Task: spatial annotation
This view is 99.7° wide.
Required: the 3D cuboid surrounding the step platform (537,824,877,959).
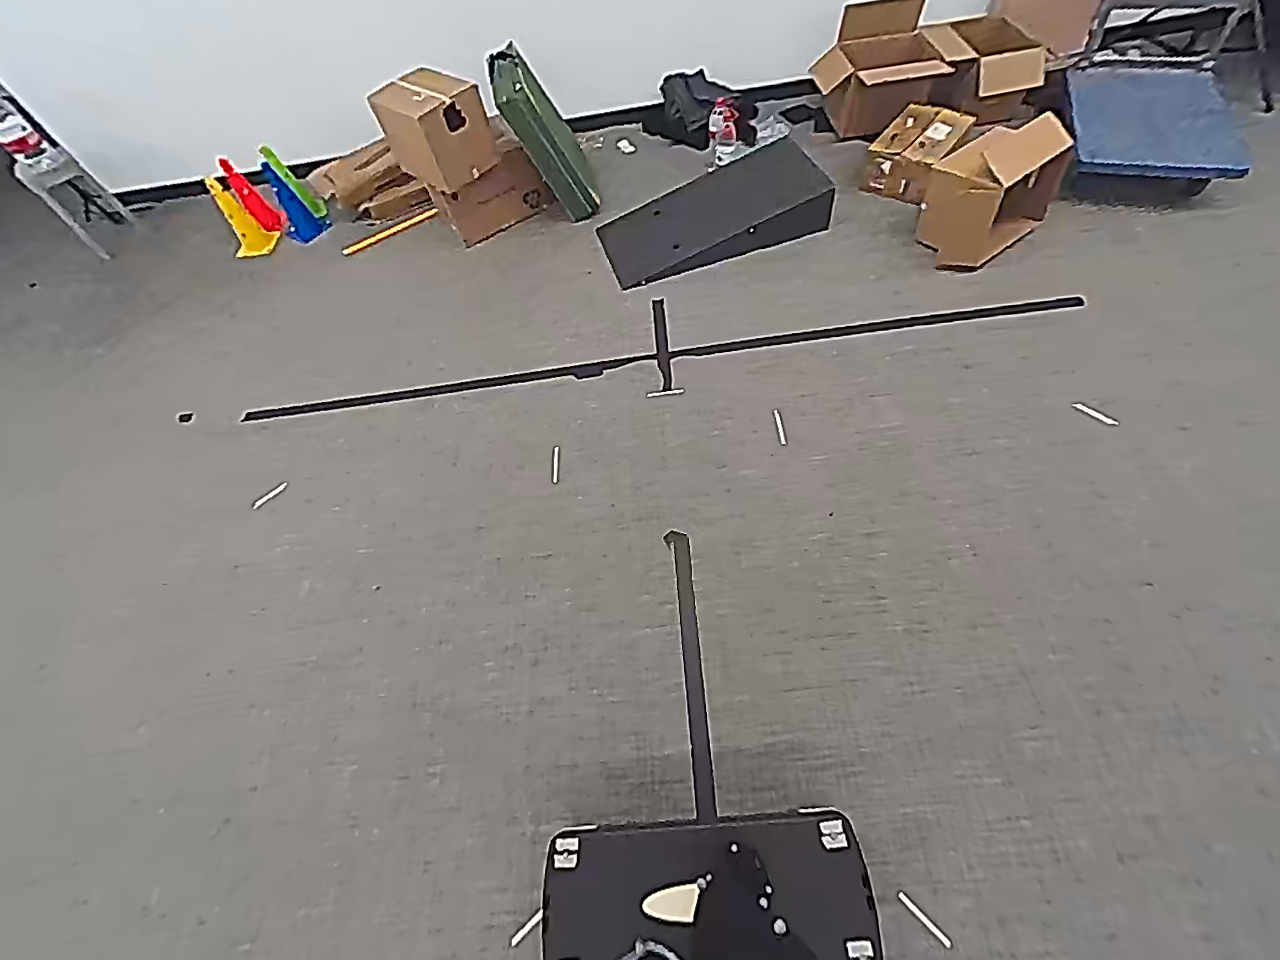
[{"bbox_3d":[0.129,0.925,1.146,0.684,0.204,0.286,-7,58,3],"label":"step platform"}]
